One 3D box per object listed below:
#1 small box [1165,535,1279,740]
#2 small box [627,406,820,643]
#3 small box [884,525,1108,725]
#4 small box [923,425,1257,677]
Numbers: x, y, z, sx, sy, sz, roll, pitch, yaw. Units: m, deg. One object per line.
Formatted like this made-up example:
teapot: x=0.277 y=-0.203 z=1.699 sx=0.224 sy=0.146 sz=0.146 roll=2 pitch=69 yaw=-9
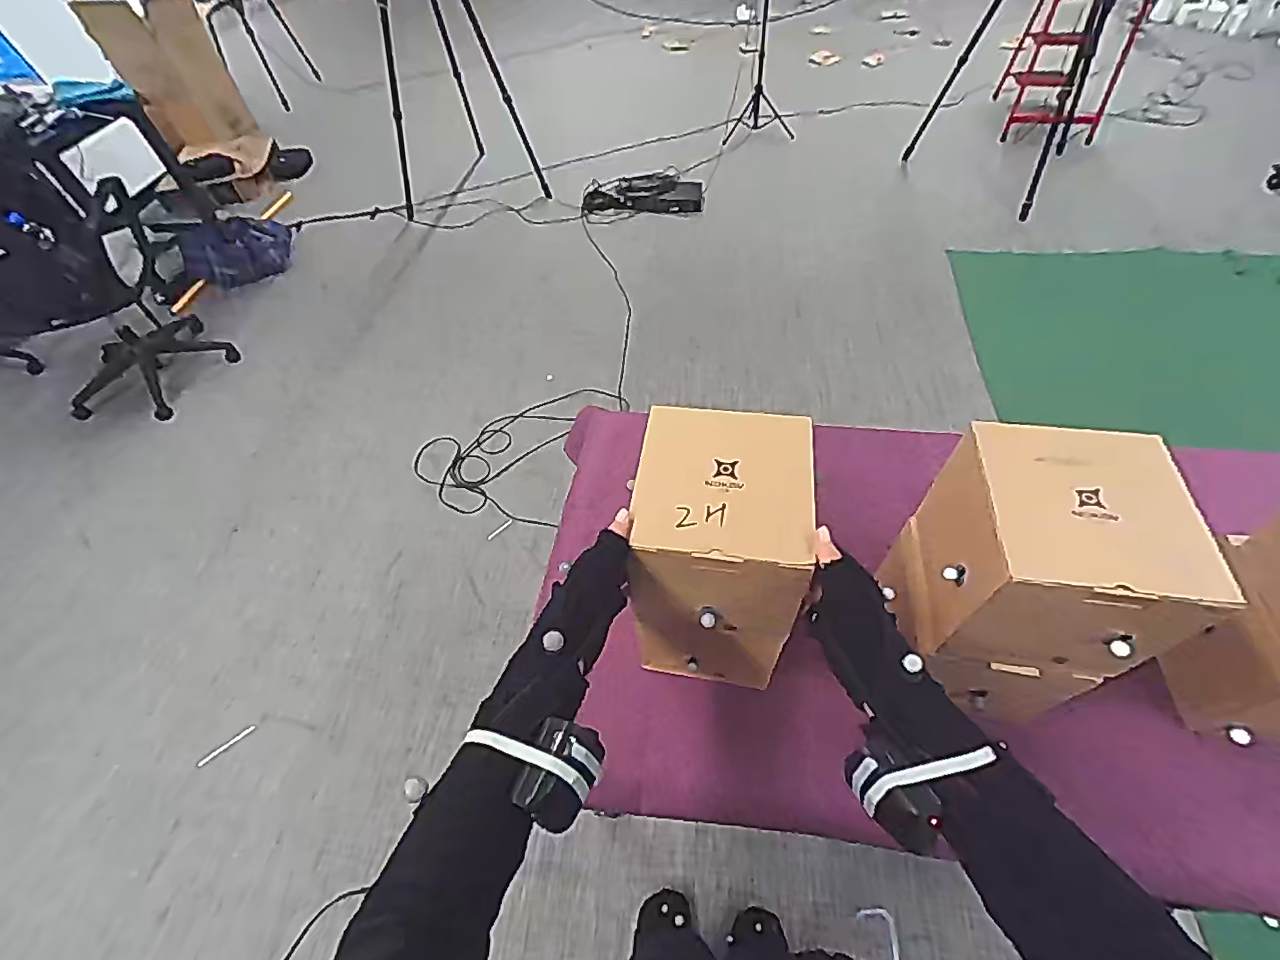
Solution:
small box: x=0.736 y=0.188 z=0.603 sx=0.168 sy=0.176 sz=0.179 roll=8 pitch=54 yaw=9
small box: x=0.087 y=0.048 z=0.565 sx=0.168 sy=0.176 sz=0.179 roll=6 pitch=54 yaw=9
small box: x=0.401 y=0.176 z=0.649 sx=0.168 sy=0.176 sz=0.179 roll=4 pitch=52 yaw=13
small box: x=0.393 y=0.072 z=0.519 sx=0.168 sy=0.176 sz=0.179 roll=6 pitch=53 yaw=9
